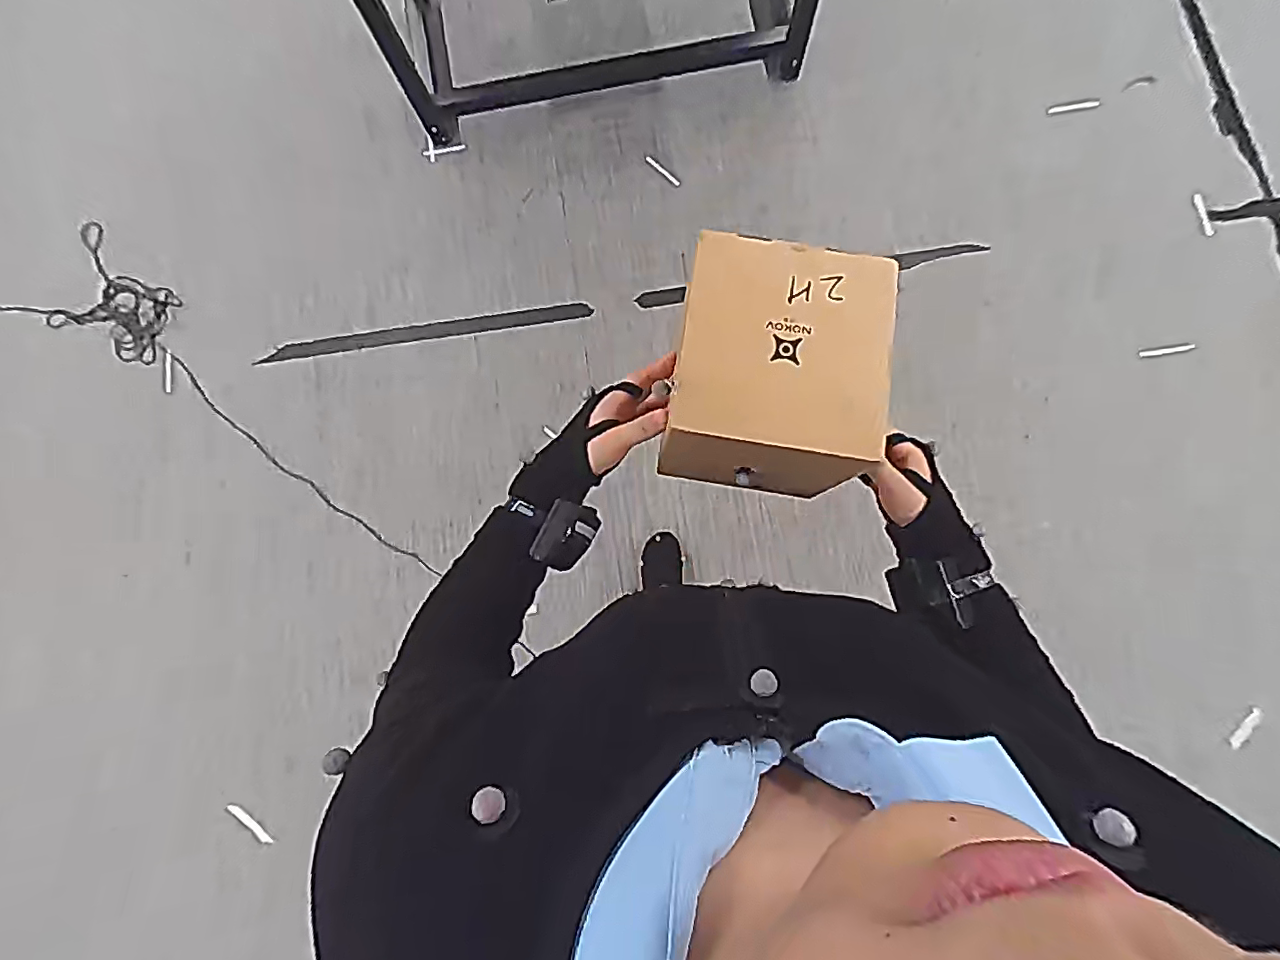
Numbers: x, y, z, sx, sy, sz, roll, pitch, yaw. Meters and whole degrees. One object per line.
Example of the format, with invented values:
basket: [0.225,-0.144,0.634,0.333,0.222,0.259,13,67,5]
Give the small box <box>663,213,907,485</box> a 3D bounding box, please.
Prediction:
small box: [0.116,-0.102,0.494,0.168,0.176,0.179,10,78,0]
